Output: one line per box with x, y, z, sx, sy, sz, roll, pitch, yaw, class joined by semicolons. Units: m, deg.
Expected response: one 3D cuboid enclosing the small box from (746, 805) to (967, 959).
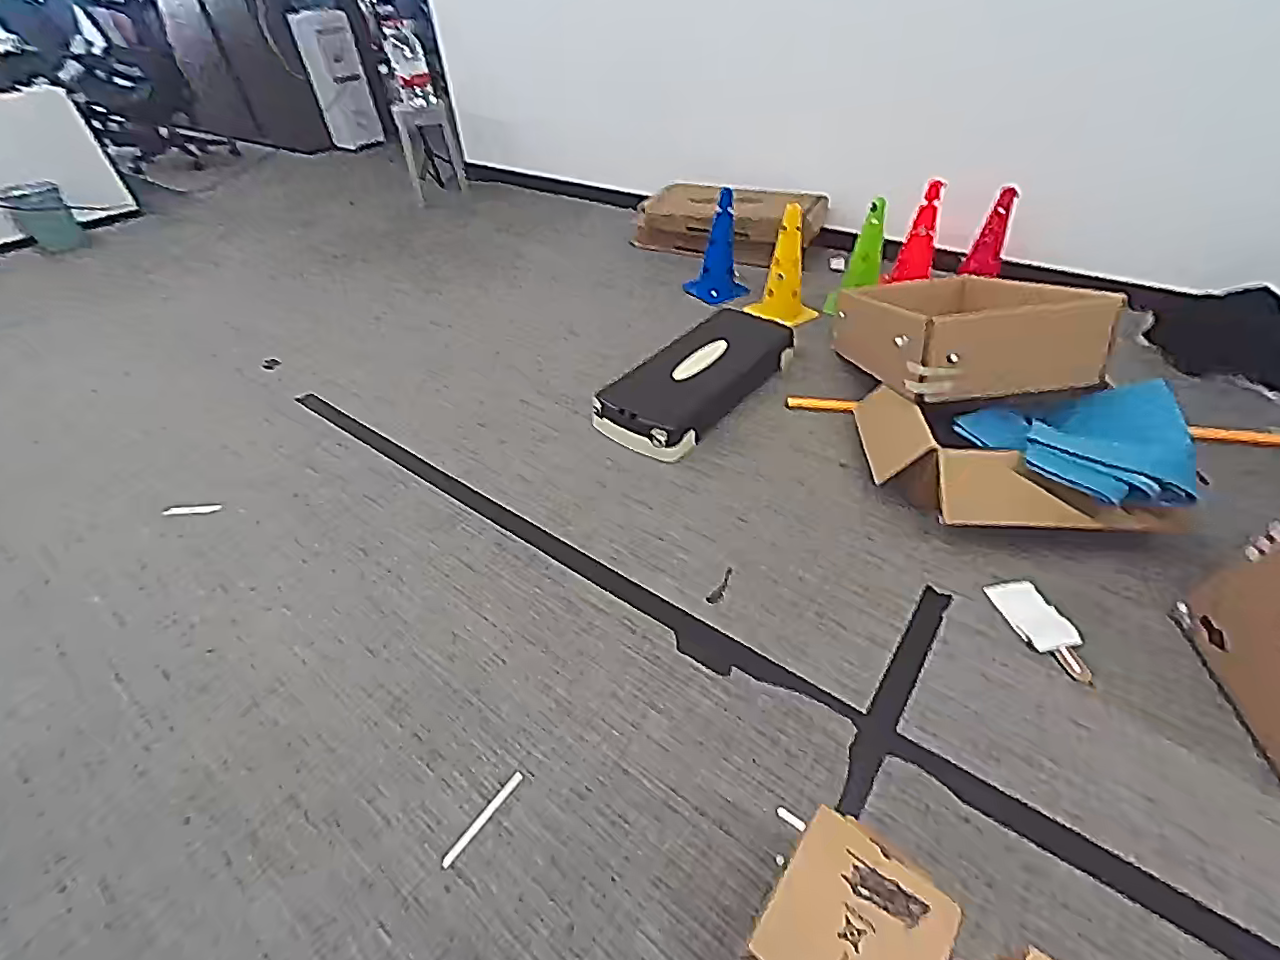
0.236;0.527;0.622;0.168;0.176;0.179;28;53;29;small box

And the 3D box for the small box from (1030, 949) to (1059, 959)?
0.420;0.615;0.524;0.168;0.176;0.179;27;51;27;small box
